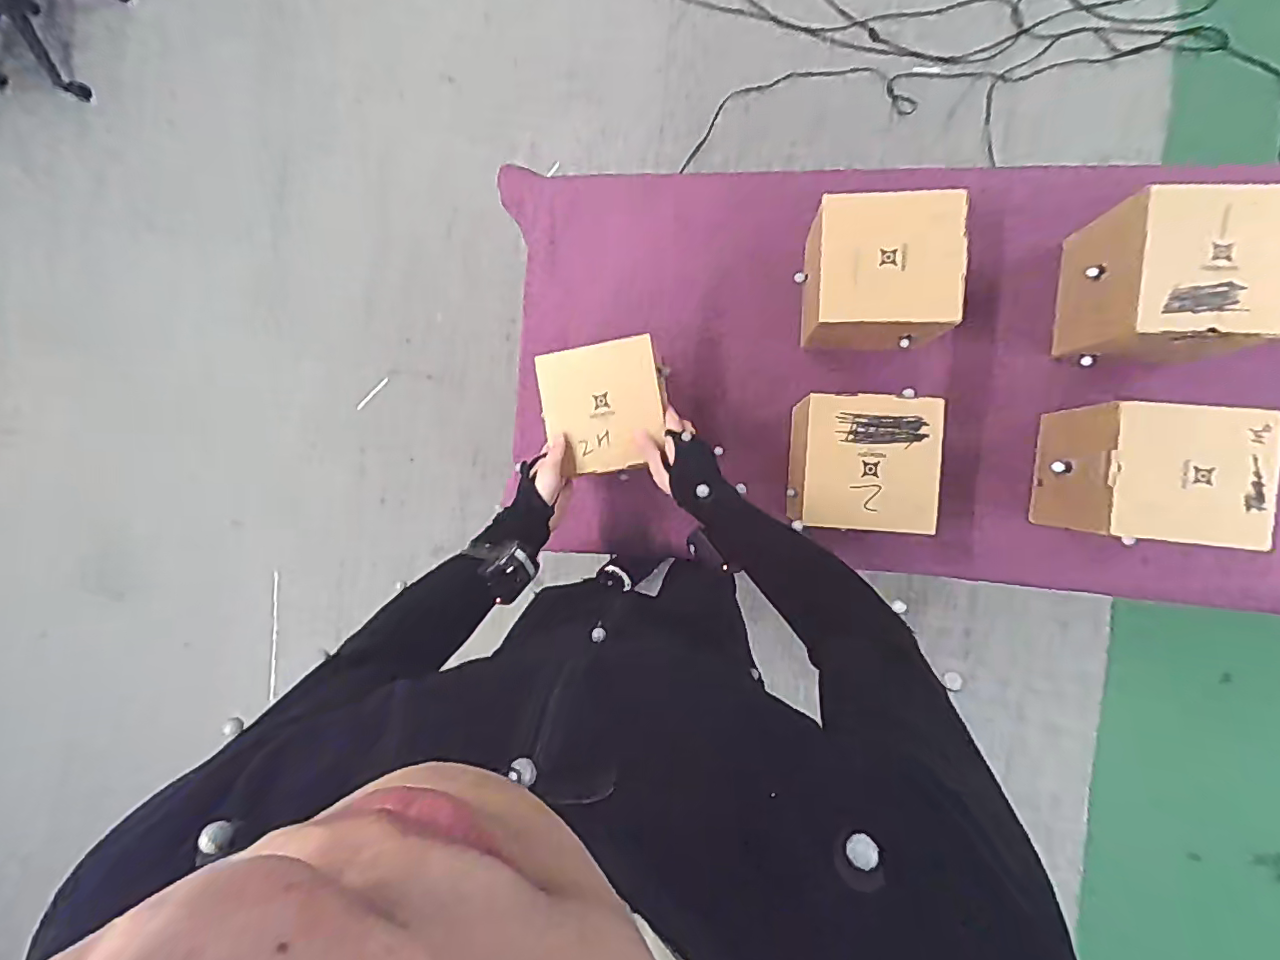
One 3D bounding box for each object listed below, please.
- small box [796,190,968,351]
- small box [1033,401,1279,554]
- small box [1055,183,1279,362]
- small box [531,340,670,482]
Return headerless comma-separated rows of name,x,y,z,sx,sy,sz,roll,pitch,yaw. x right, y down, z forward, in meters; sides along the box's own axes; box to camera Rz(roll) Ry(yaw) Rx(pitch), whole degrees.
small box,0.322,-0.279,0.752,0.179,0.176,0.168,3,92,9
small box,0.657,-0.004,0.708,0.179,0.176,0.168,6,92,9
small box,0.677,-0.255,0.698,0.168,0.176,0.179,4,92,8
small box,-0.050,-0.093,0.807,0.168,0.176,0.179,-8,90,8
